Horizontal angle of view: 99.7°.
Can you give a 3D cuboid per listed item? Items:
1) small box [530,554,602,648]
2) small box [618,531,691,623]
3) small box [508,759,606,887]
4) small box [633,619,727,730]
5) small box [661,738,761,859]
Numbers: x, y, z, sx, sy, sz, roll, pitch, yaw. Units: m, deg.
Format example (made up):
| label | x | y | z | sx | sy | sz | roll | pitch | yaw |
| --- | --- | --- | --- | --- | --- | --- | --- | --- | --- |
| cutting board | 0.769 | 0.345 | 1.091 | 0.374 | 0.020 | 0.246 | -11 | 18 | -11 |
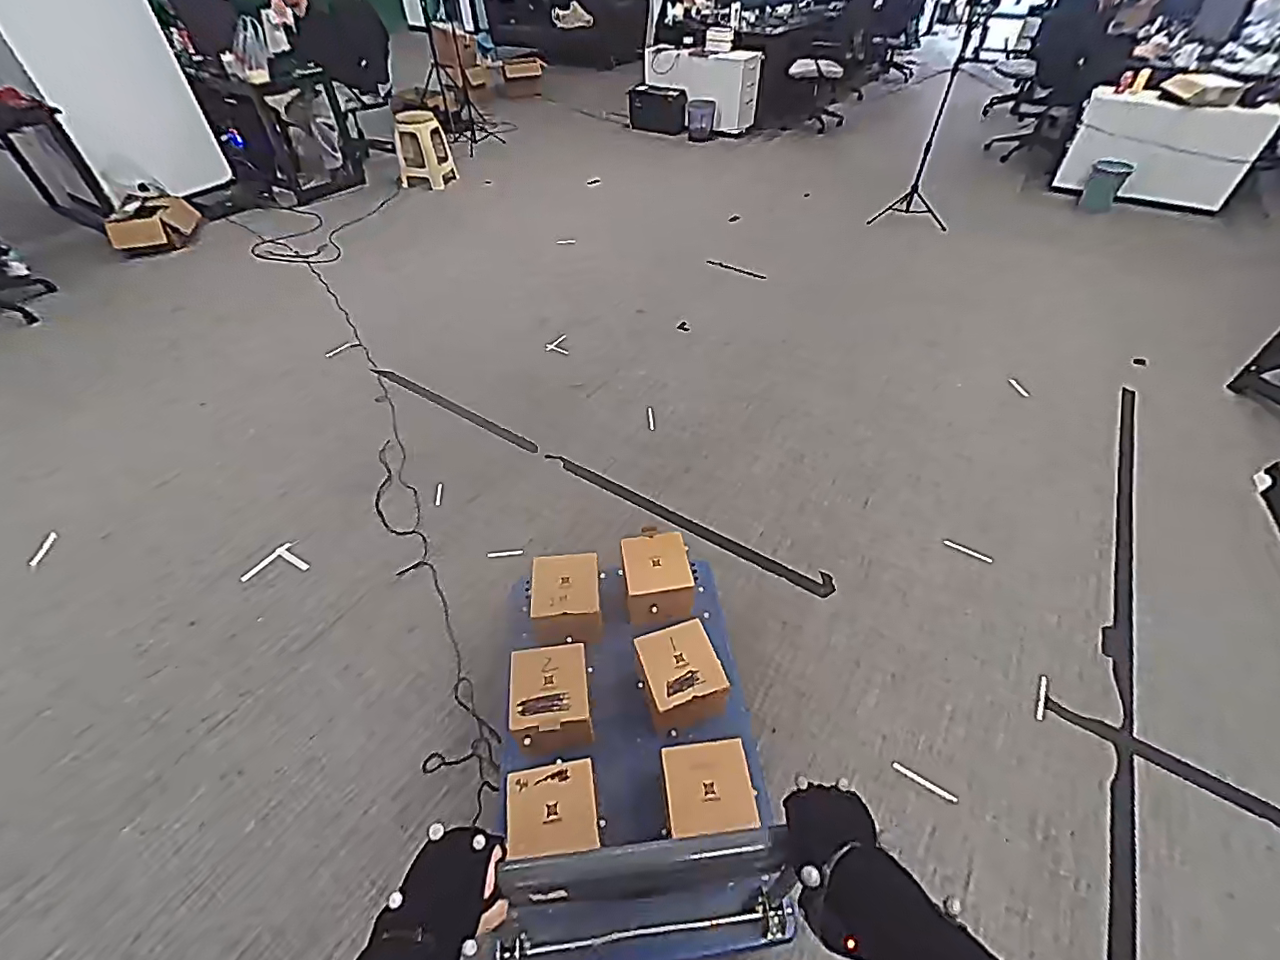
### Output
| label | x | y | z | sx | sy | sz | roll | pitch | yaw |
| --- | --- | --- | --- | --- | --- | --- | --- | --- | --- |
| small box | -0.187 | 0.314 | 1.403 | 0.168 | 0.176 | 0.179 | -4 | 48 | -3 |
| small box | 0.038 | 0.266 | 1.447 | 0.168 | 0.176 | 0.179 | -8 | 47 | -6 |
| small box | -0.161 | 0.677 | 1.062 | 0.168 | 0.176 | 0.179 | -7 | 48 | -8 |
| small box | 0.088 | 0.461 | 1.263 | 0.168 | 0.176 | 0.179 | -14 | 48 | -13 |
| small box | 0.134 | 0.646 | 1.090 | 0.168 | 0.176 | 0.179 | -5 | 47 | -4 |
